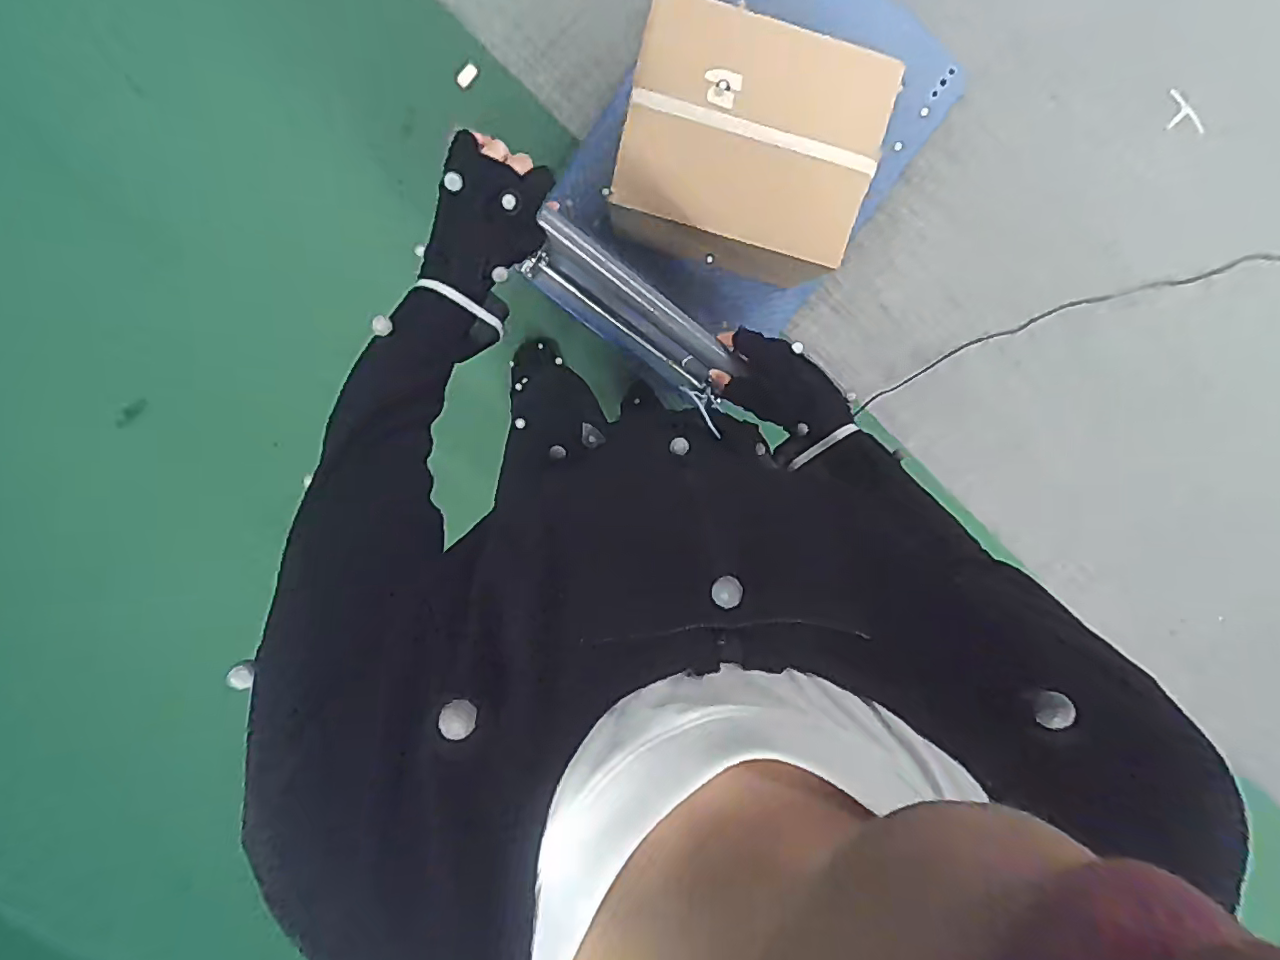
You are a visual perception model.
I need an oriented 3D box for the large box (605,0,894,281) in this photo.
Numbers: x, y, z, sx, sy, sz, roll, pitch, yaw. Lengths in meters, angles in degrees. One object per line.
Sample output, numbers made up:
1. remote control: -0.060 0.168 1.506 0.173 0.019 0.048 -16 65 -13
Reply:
1. large box: 0.173 -0.587 1.010 0.408 0.320 0.320 14 103 -3
